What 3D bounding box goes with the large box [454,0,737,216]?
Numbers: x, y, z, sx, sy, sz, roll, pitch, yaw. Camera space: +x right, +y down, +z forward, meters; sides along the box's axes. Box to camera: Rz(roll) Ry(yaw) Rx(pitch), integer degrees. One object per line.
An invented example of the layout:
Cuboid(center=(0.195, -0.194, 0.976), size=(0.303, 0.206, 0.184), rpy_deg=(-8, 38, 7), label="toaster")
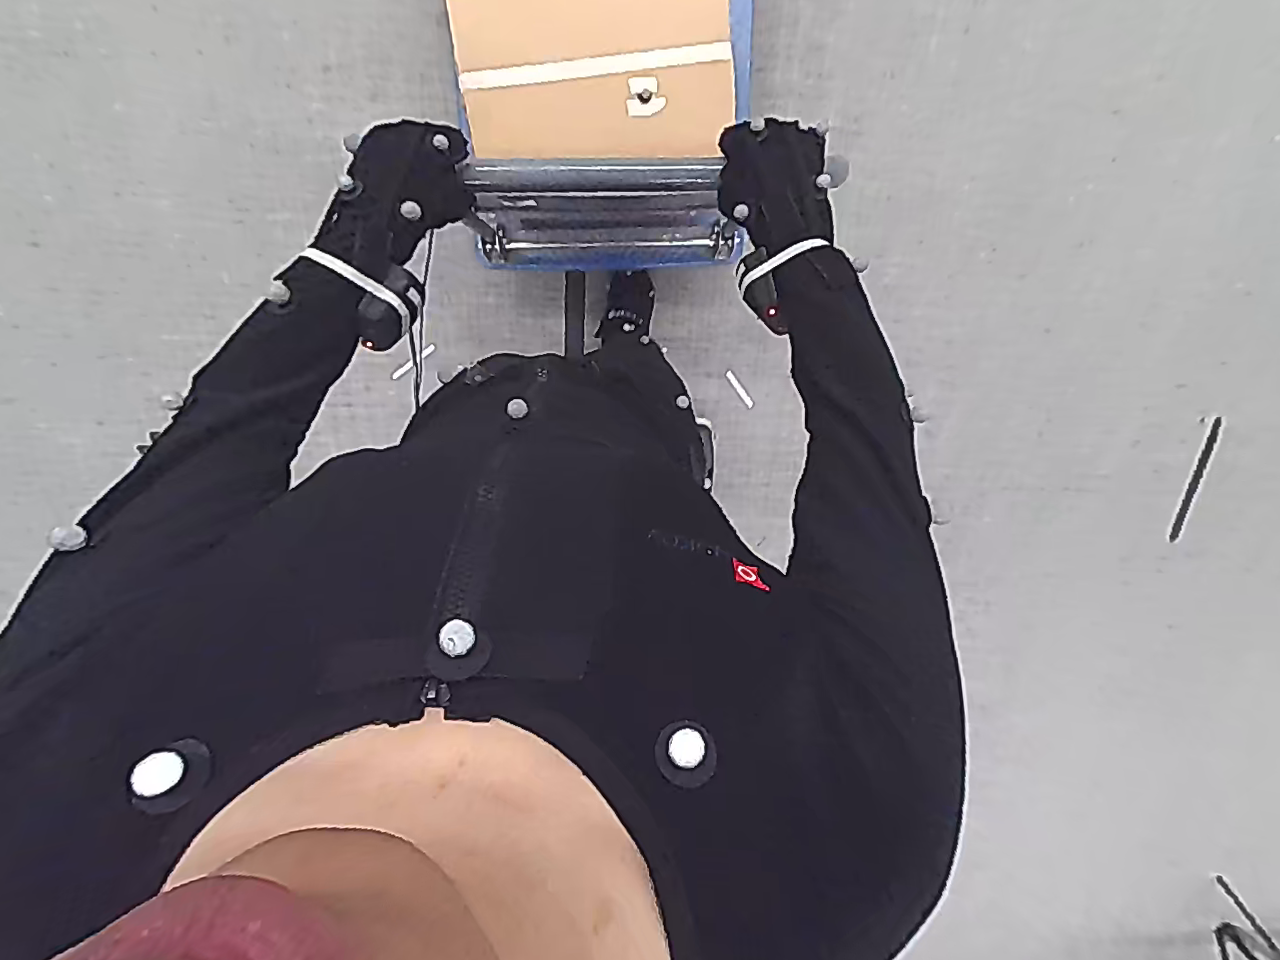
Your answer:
Cuboid(center=(-0.069, -0.677, 0.953), size=(0.408, 0.320, 0.320), rpy_deg=(-8, 110, -1), label="large box")
